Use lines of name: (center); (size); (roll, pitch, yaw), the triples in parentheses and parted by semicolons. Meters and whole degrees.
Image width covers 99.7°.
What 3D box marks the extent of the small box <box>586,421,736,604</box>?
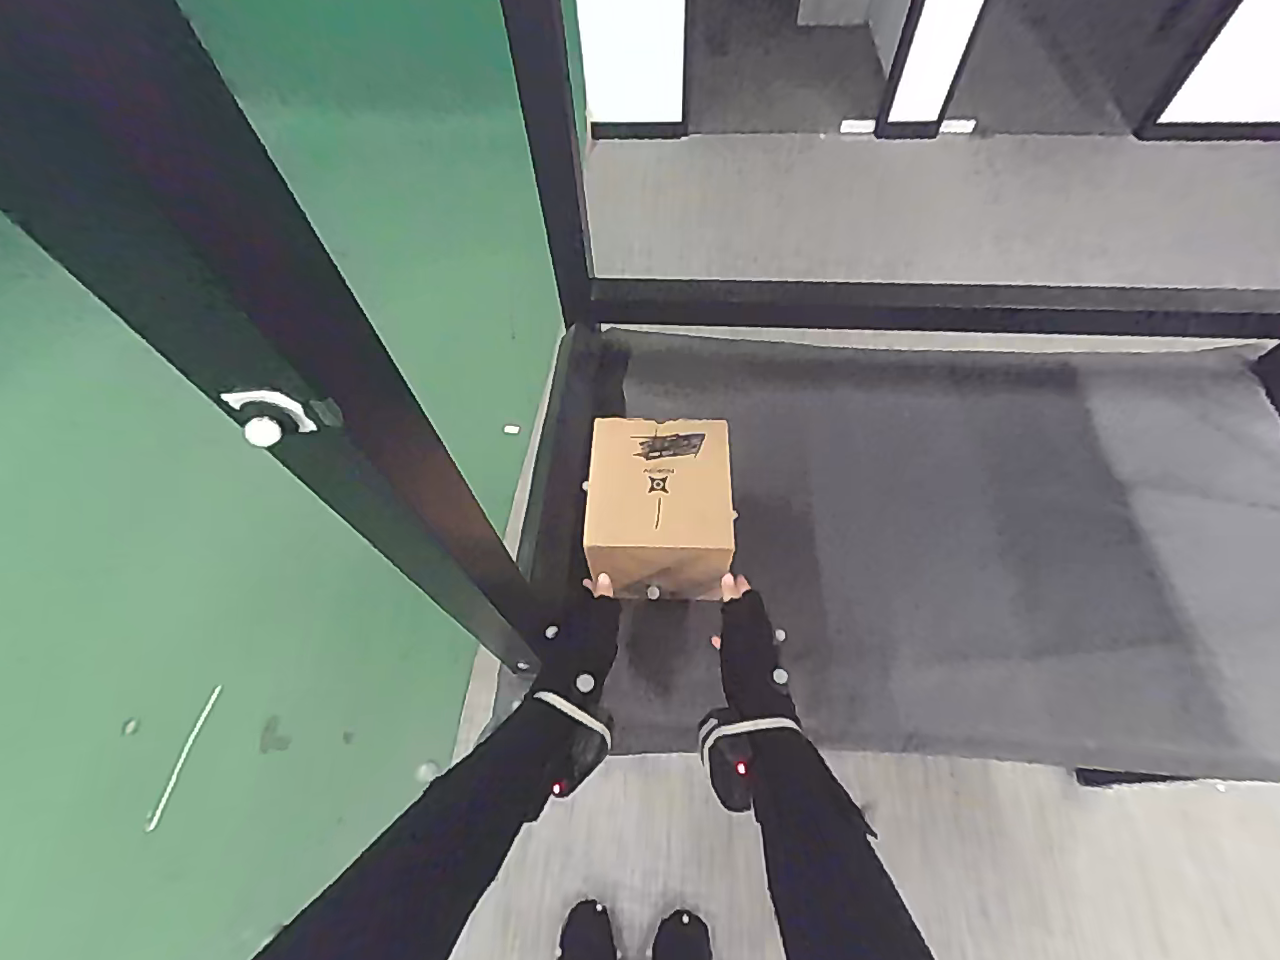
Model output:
small box: (0.028, 0.044, 0.691); (0.168, 0.176, 0.179); (1, 58, 3)
